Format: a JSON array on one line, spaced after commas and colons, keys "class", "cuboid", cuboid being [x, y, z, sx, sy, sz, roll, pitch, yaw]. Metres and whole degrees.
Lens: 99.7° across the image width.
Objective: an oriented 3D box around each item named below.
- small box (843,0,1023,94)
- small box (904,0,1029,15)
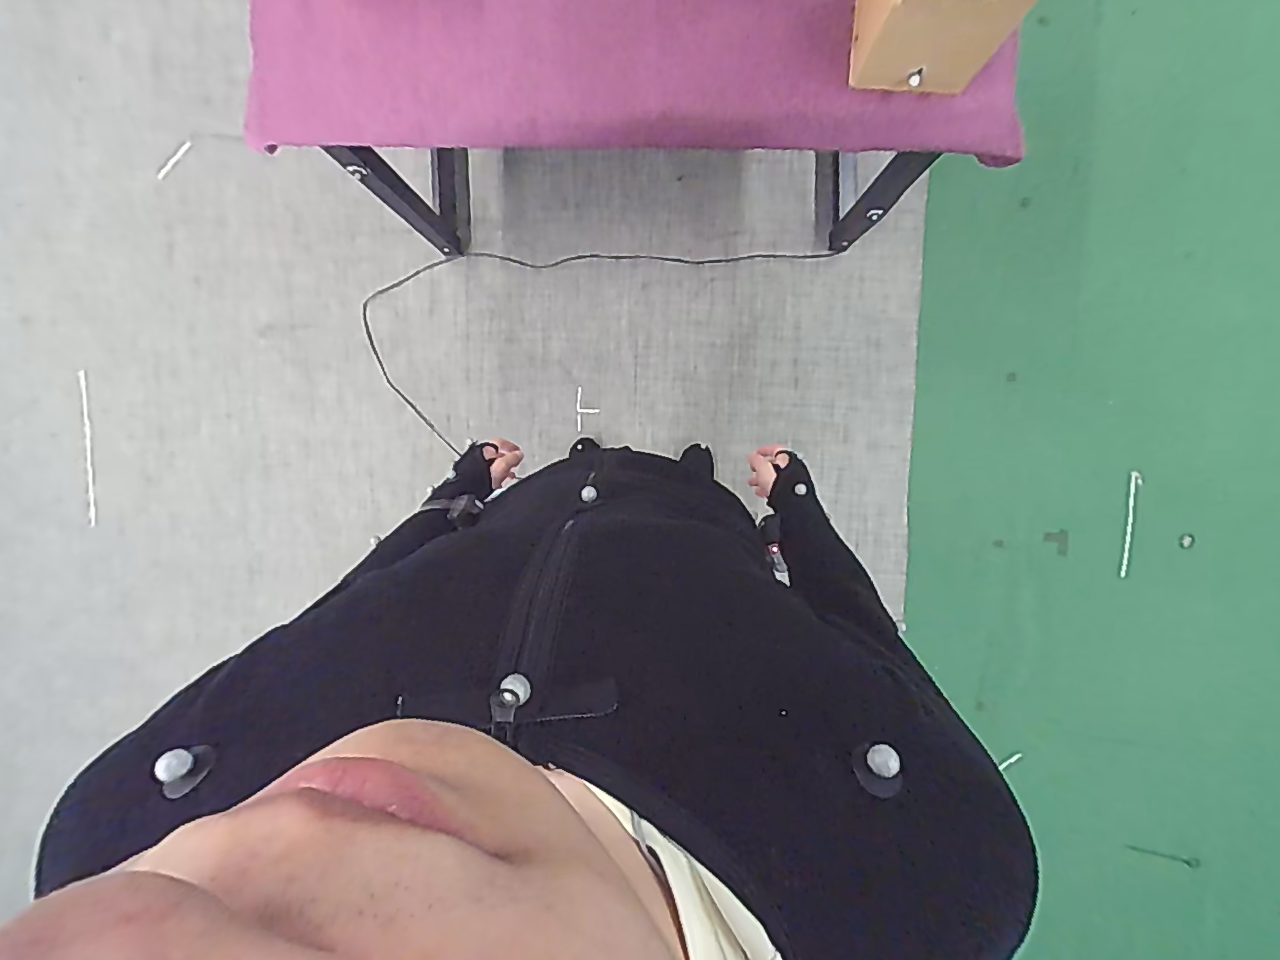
[{"class": "small box", "cuboid": [0.411, -0.687, 0.768, 0.179, 0.176, 0.168, 4, 93, 1]}, {"class": "small box", "cuboid": [0.409, -0.680, 0.605, 0.168, 0.176, 0.179, 4, 93, 3]}]
